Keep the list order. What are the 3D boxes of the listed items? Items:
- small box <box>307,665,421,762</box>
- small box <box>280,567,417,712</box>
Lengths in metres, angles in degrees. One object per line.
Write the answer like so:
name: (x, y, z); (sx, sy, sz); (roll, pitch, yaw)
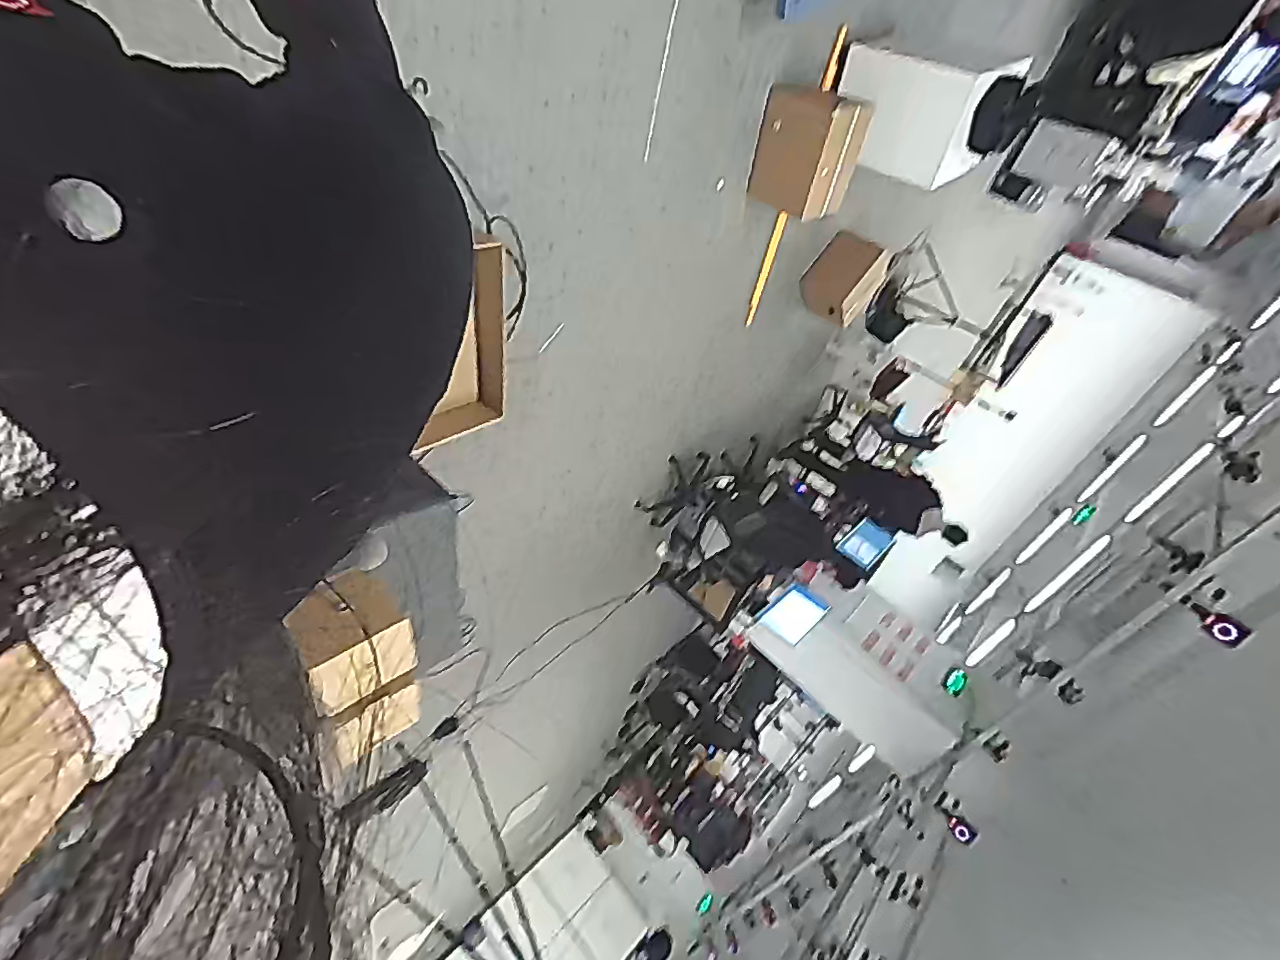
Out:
small box: (-0.593, 0.455, 1.167); (0.168, 0.176, 0.179); (-24, 142, -41)
small box: (-0.545, 0.288, 1.020); (0.168, 0.176, 0.179); (-27, 146, -37)
